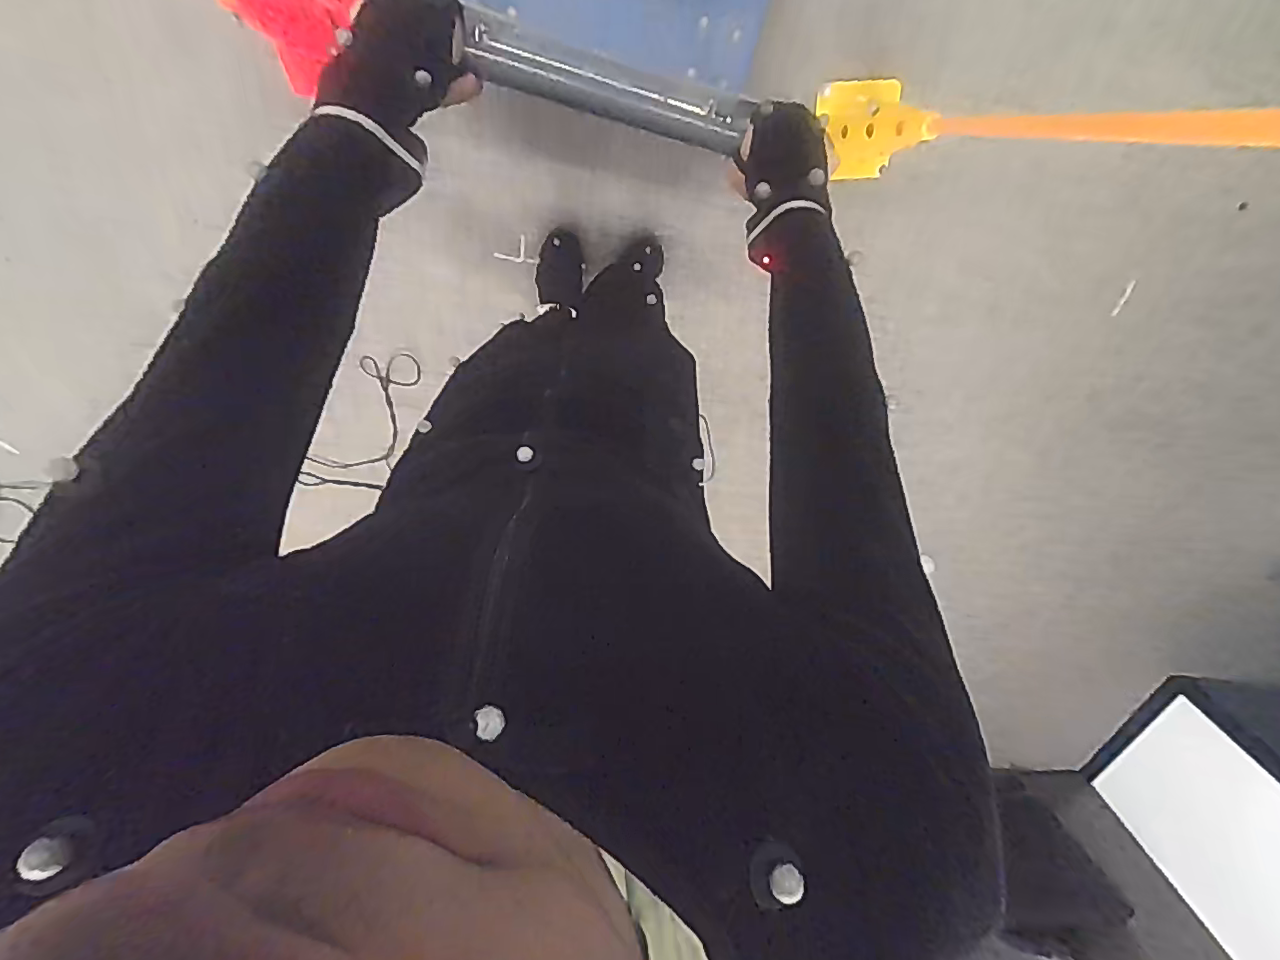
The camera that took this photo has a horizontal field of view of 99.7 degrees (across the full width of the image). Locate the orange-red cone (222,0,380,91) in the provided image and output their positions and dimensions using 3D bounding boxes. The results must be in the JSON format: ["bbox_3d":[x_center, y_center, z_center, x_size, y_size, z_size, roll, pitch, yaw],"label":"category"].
[{"bbox_3d":[-0.638,-0.828,0.955,0.199,0.360,0.198,-7,122,0],"label":"orange-red cone"}]
